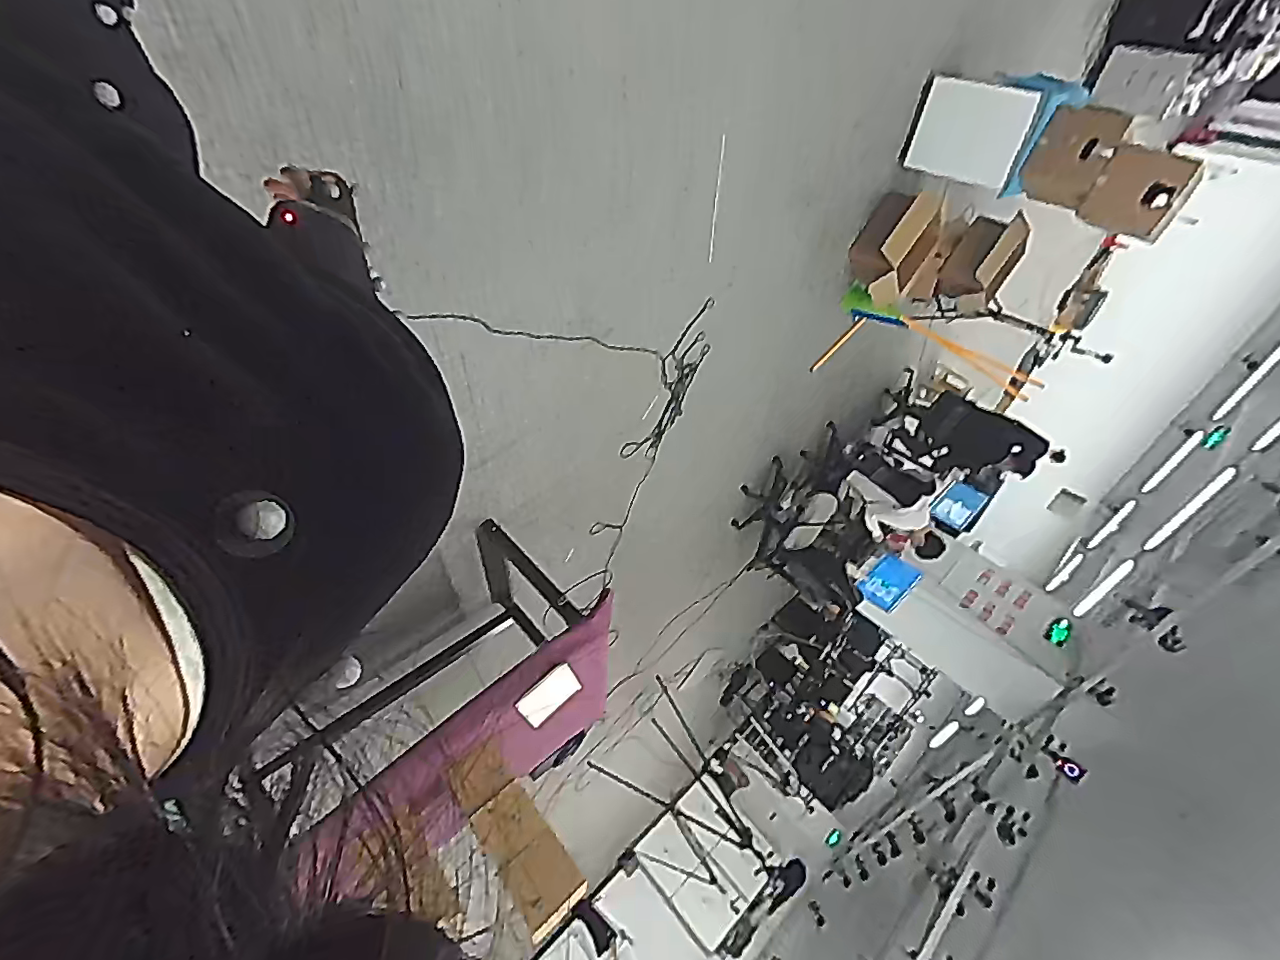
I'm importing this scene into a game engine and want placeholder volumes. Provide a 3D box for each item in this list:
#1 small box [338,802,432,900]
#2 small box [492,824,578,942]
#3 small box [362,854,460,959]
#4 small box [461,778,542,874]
[{"bbox_3d":[-0.707,1.038,1.503,0.168,0.176,0.179,-30,145,-32],"label":"small box"},{"bbox_3d":[-0.290,1.092,1.472,0.179,0.176,0.168,-29,145,-34],"label":"small box"},{"bbox_3d":[-0.599,1.127,1.417,0.168,0.176,0.179,-31,146,-31],"label":"small box"},{"bbox_3d":[-0.398,1.003,1.561,0.168,0.176,0.179,-31,145,-33],"label":"small box"}]
